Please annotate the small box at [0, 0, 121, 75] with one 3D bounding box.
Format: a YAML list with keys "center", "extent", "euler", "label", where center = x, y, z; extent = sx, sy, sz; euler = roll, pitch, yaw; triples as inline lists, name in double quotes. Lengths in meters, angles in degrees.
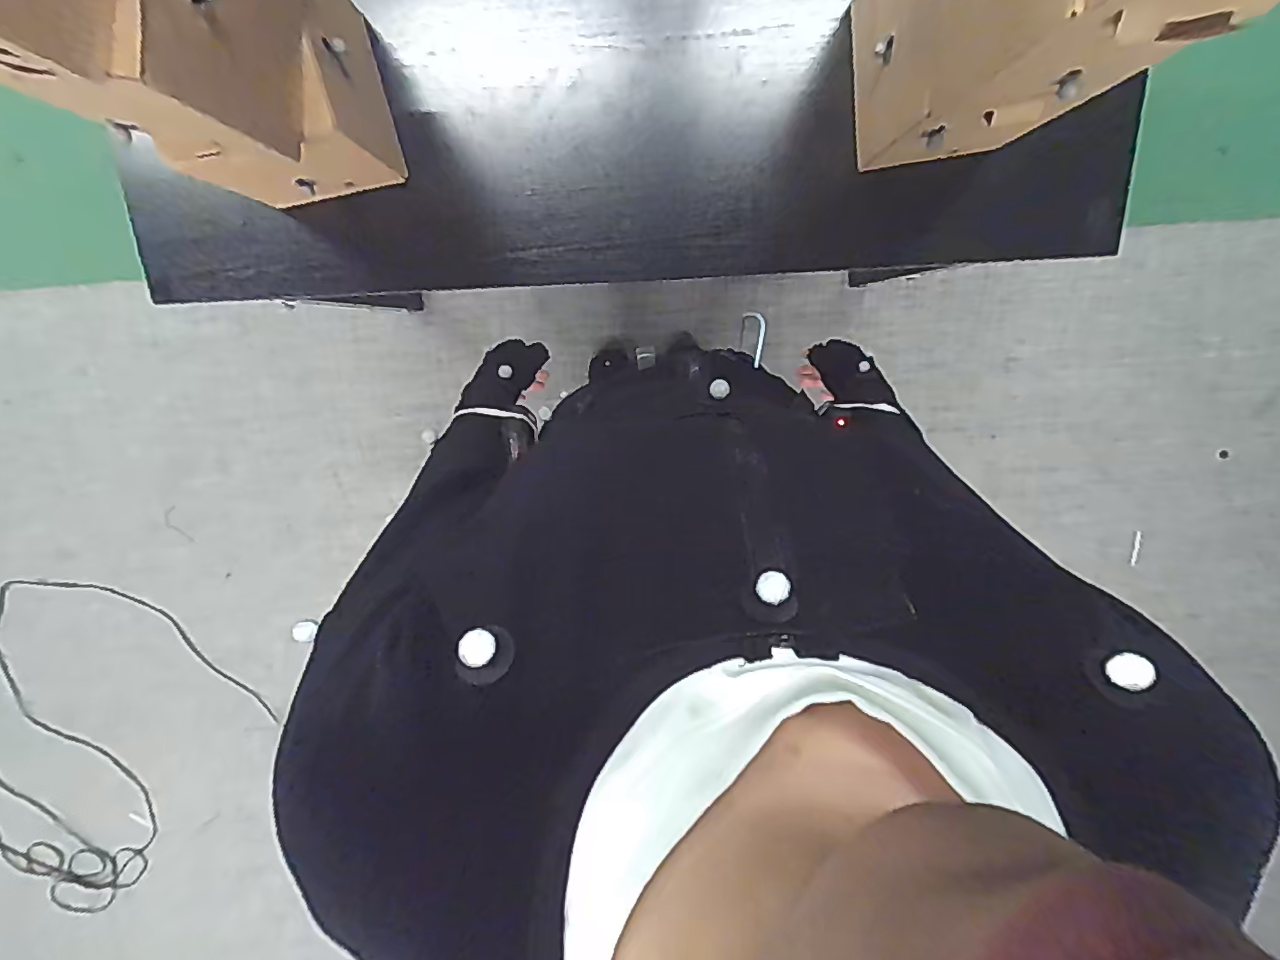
- center: [-0.371, -0.323, 0.230]
  extent: [0.168, 0.176, 0.179]
  euler: [19, 106, -7]
  label: "small box"

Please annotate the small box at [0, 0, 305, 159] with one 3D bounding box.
- center: [-0.371, -0.360, 0.390]
  extent: [0.168, 0.176, 0.179]
  euler: [9, 105, -4]
  label: "small box"

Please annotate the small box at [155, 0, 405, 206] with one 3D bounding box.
- center: [-0.370, -0.404, 0.548]
  extent: [0.168, 0.176, 0.179]
  euler: [-11, 106, 2]
  label: "small box"

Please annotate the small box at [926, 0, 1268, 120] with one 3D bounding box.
- center: [0.324, -0.398, 0.385]
  extent: [0.168, 0.176, 0.179]
  euler: [-10, 105, 3]
  label: "small box"
